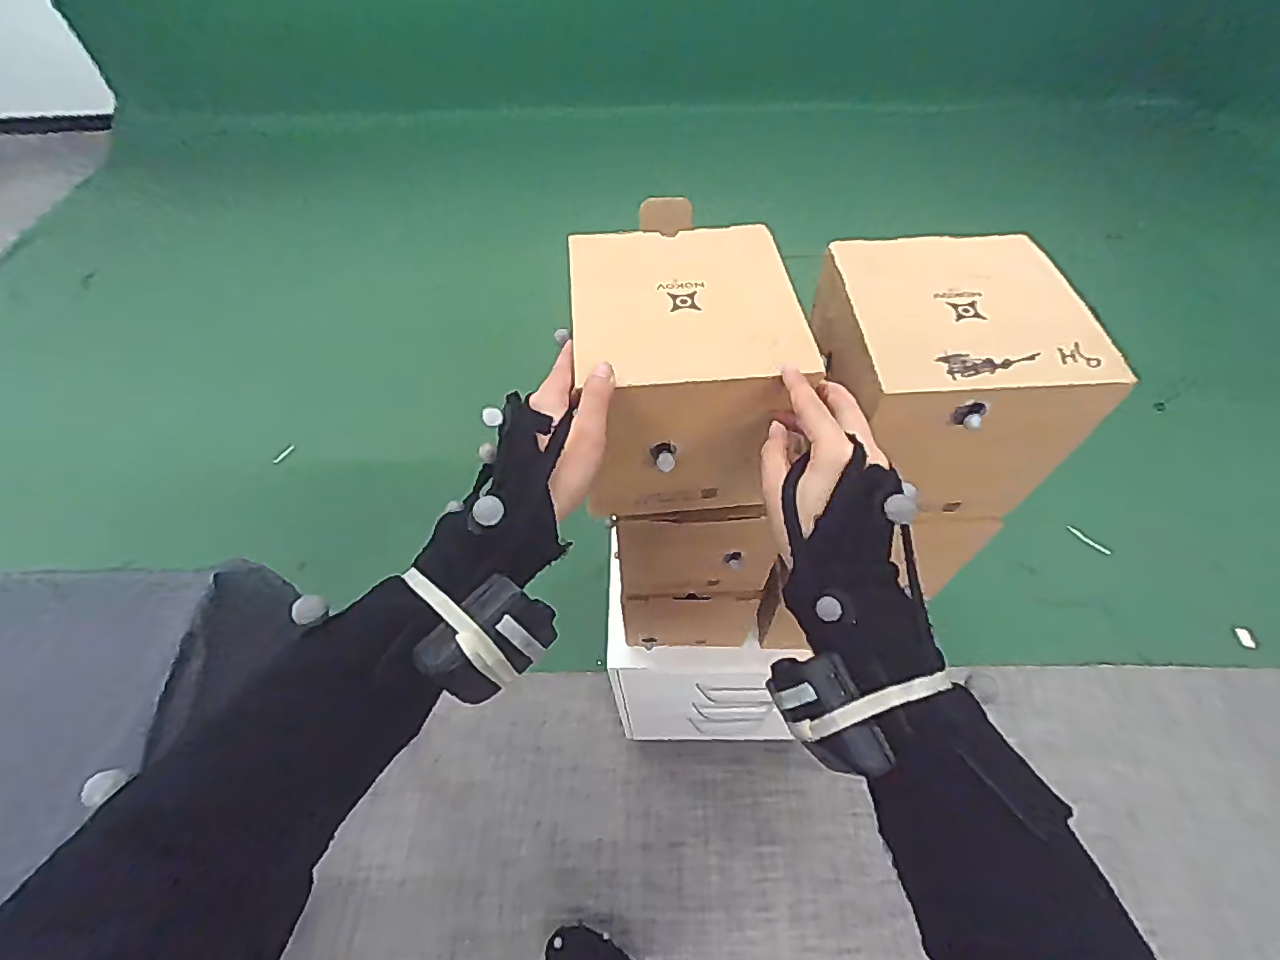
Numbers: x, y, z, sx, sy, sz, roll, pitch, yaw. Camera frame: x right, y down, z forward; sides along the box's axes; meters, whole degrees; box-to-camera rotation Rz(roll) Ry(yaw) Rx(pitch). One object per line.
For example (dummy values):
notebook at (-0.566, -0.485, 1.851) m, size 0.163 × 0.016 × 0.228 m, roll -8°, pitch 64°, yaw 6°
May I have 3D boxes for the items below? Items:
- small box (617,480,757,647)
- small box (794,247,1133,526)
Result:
small box at (0.058, 0.118, 0.737) m, size 0.168 × 0.176 × 0.179 m, roll 1°, pitch 54°, yaw 1°
small box at (0.242, -0.077, 0.468) m, size 0.168 × 0.176 × 0.179 m, roll -1°, pitch 54°, yaw 1°
